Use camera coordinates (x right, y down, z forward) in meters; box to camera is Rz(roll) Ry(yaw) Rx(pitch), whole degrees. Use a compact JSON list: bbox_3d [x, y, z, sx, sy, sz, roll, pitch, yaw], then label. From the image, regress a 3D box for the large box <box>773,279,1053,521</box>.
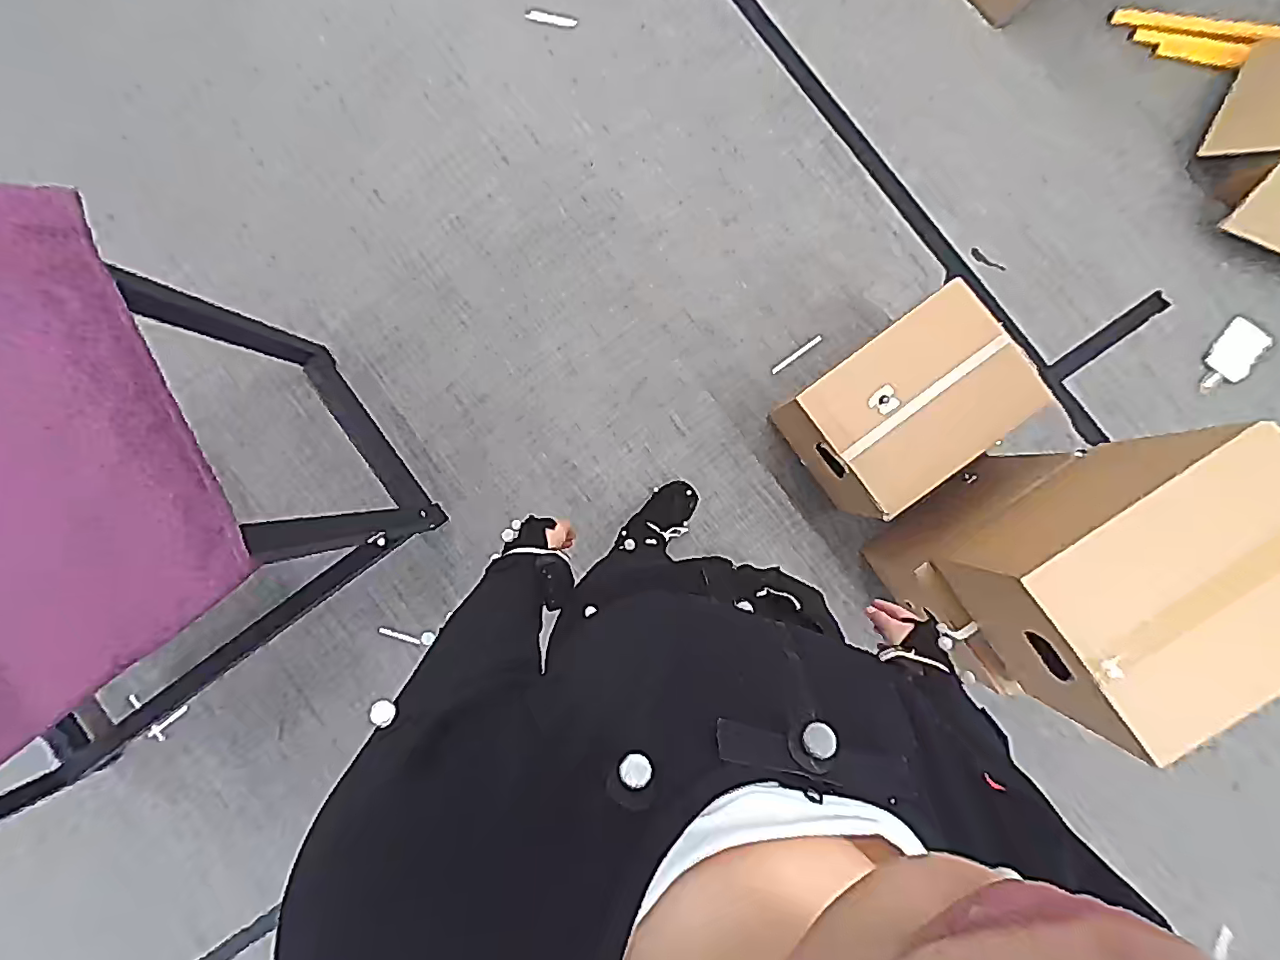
[{"bbox_3d":[0.573,-0.161,1.217,0.408,0.320,0.320,-38,88,3],"label":"large box"}]
